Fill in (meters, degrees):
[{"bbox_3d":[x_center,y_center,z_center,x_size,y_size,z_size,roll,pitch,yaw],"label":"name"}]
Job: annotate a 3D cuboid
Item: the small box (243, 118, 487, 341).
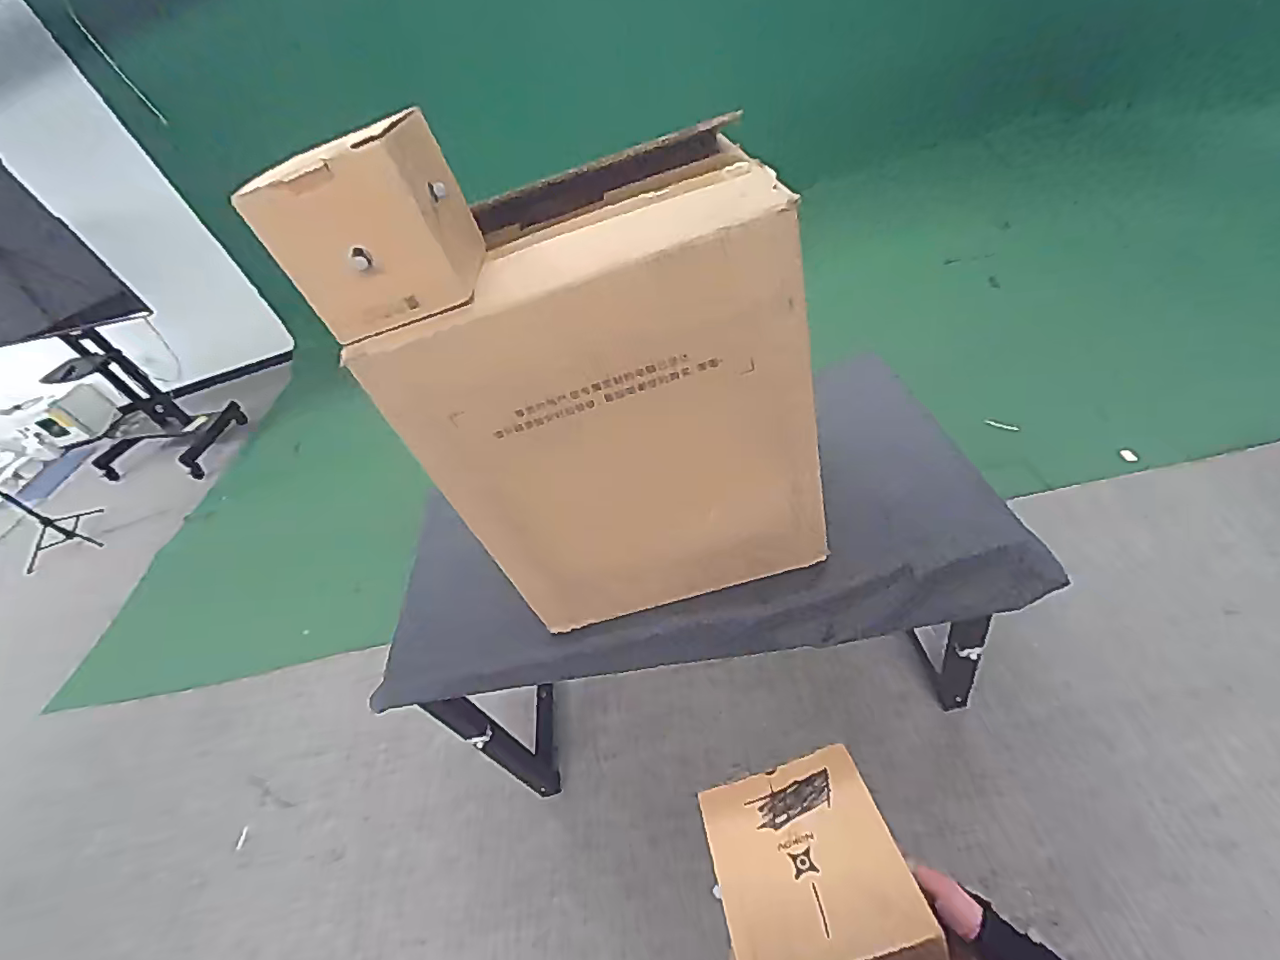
[{"bbox_3d":[-0.294,-0.281,0.626,0.168,0.176,0.179,-16,42,7],"label":"small box"}]
